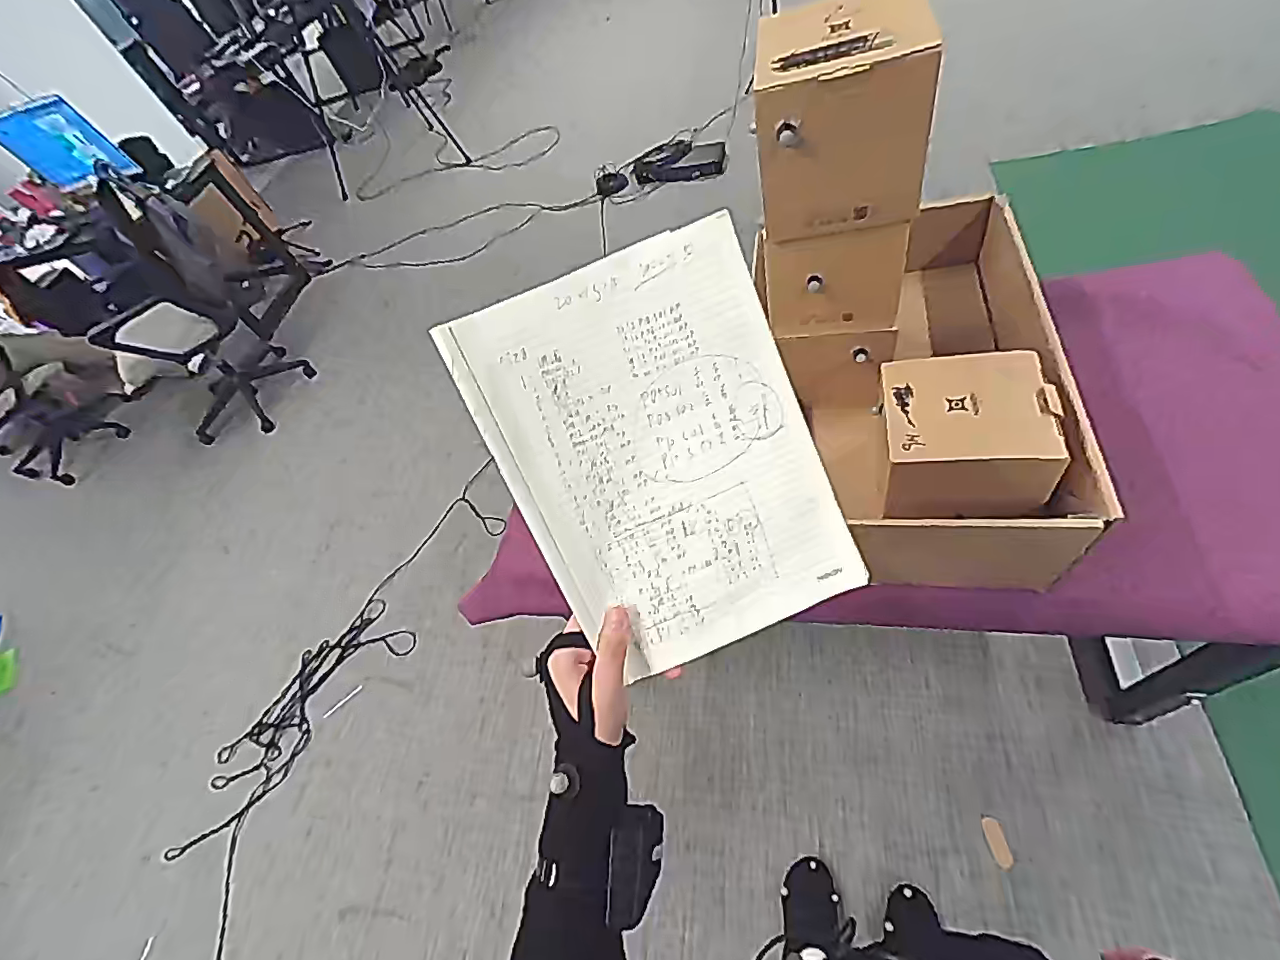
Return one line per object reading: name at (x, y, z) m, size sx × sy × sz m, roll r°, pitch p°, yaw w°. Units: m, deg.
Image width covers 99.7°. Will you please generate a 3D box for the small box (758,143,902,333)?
small box at (0.261, -0.319, 0.746) m, size 0.168 × 0.176 × 0.179 m, roll 0°, pitch 57°, yaw 19°
